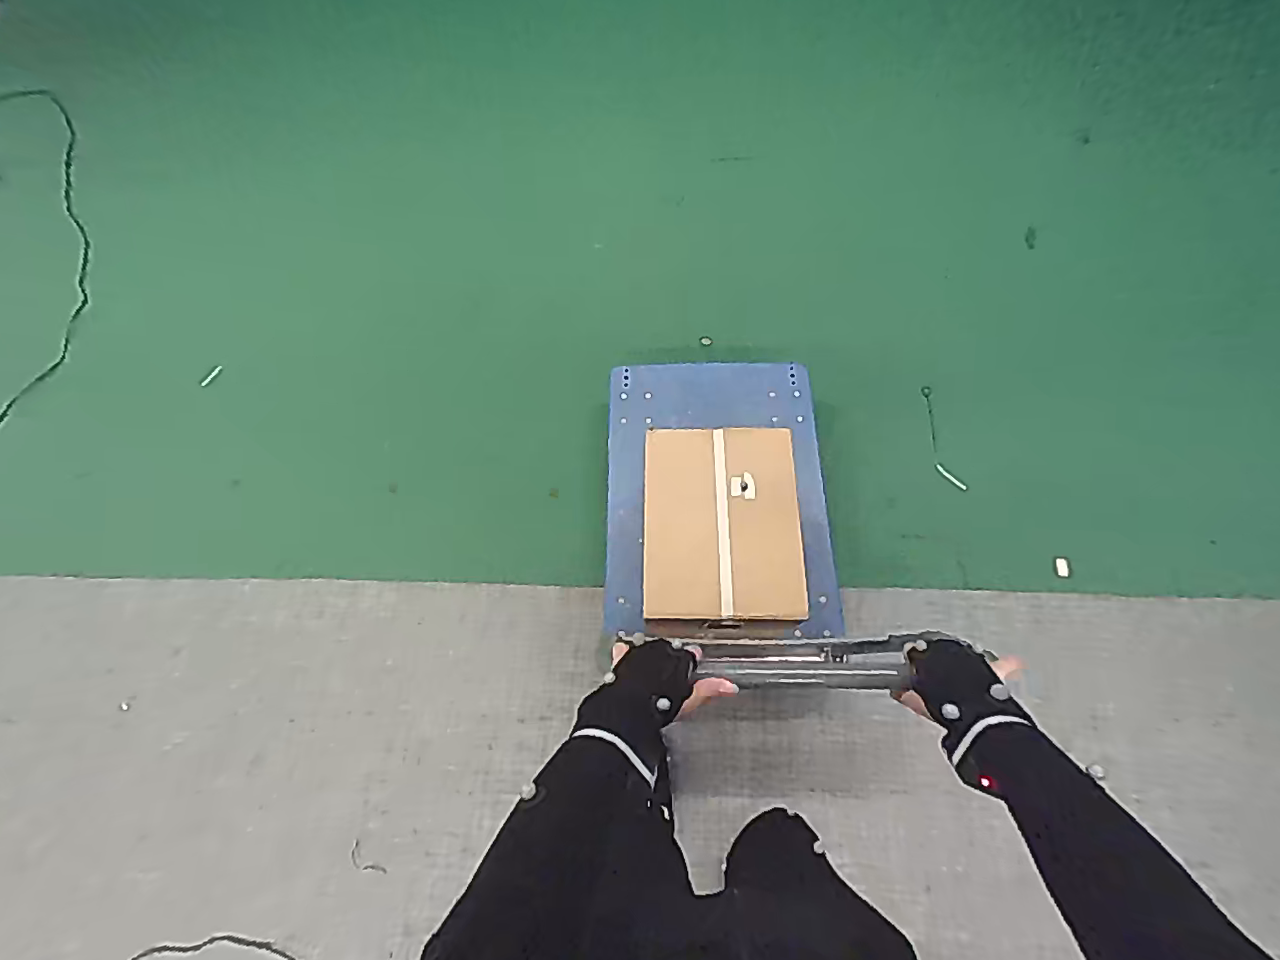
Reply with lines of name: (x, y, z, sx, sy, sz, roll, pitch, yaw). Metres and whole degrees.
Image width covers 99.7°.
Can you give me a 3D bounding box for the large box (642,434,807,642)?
large box: (0.167, 0.144, 1.233, 0.320, 0.320, 0.408, 0, 66, 1)
